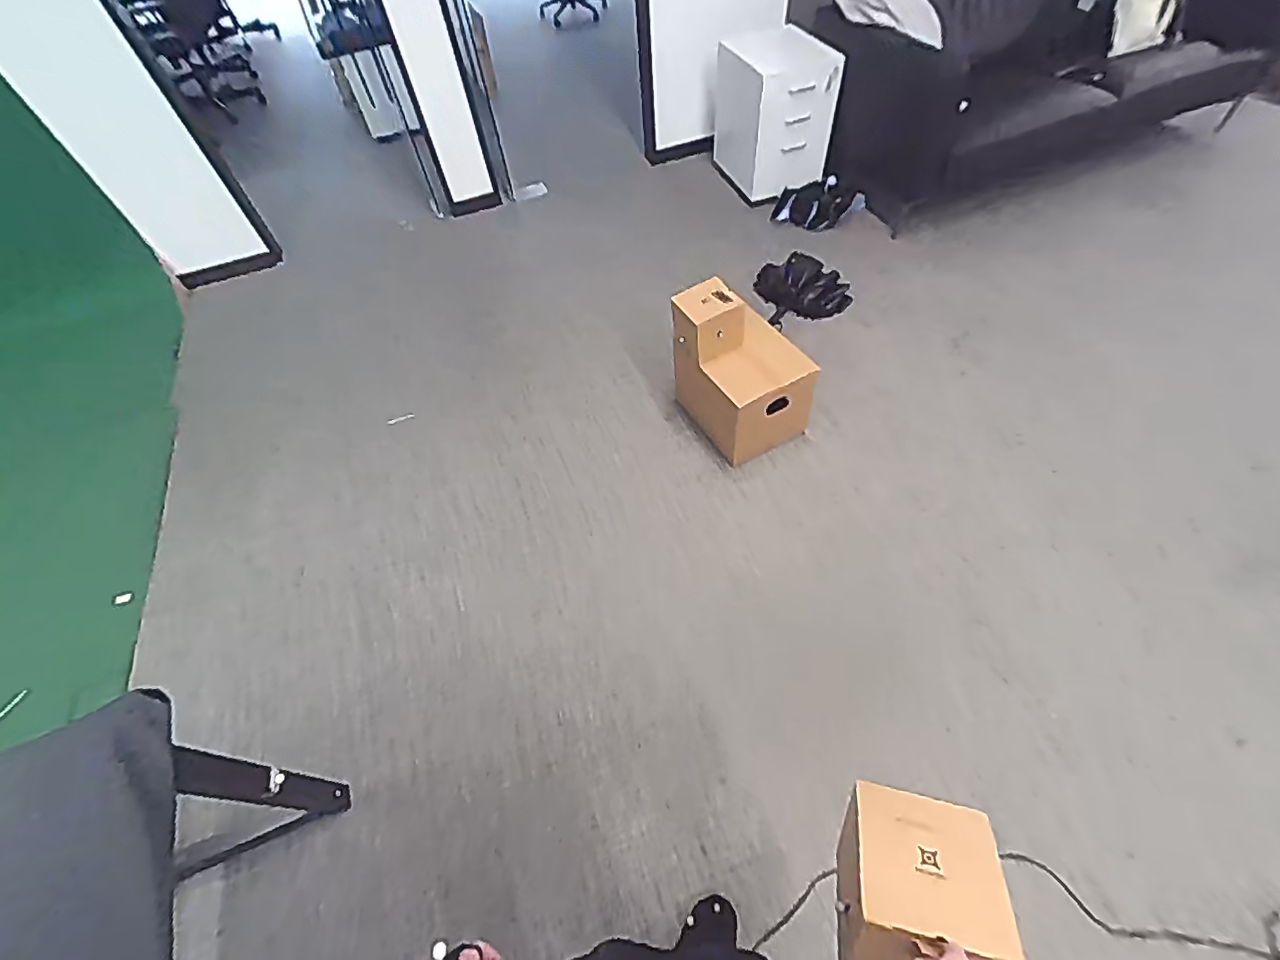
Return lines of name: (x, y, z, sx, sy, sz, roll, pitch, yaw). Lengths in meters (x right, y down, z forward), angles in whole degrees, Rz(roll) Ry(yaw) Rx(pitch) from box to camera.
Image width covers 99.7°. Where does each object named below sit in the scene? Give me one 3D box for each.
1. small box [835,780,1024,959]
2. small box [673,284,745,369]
small box: (0.350, 0.534, 0.691, 0.168, 0.176, 0.179, 8, 28, 14)
small box: (0.223, -0.496, 1.759, 0.179, 0.176, 0.168, -27, 56, -9)
